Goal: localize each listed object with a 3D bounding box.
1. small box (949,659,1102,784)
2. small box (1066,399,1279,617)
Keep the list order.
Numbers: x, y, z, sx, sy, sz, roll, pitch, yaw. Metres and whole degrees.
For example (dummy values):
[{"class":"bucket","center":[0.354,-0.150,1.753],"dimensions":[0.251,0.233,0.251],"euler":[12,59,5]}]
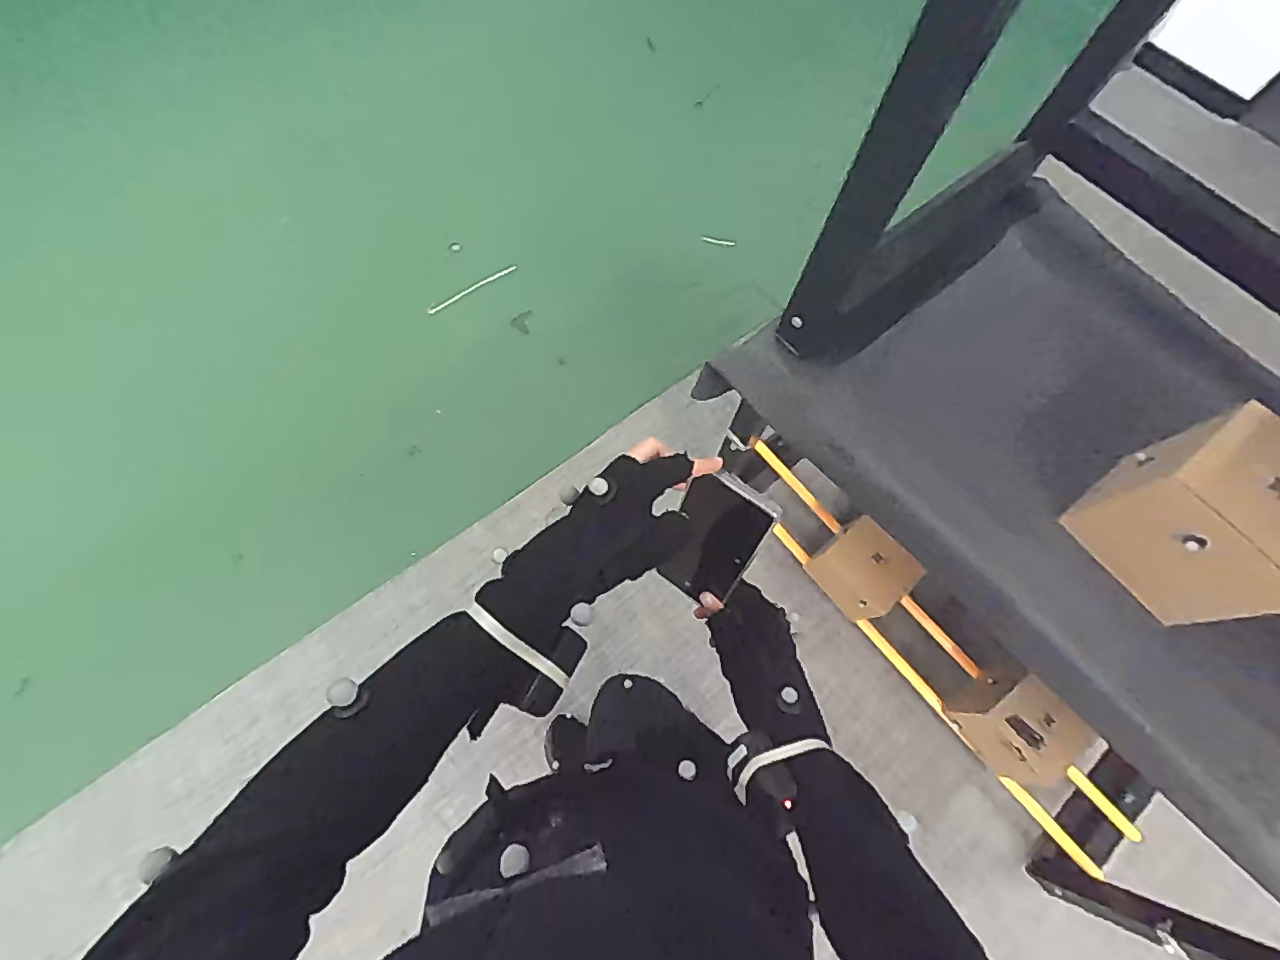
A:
[{"class":"small box","center":[0.797,0.505,1.145],"dimensions":[0.179,0.176,0.168],"euler":[-34,74,-14]},{"class":"small box","center":[0.680,0.042,0.650],"dimensions":[0.168,0.176,0.179],"euler":[-34,74,-14]}]
